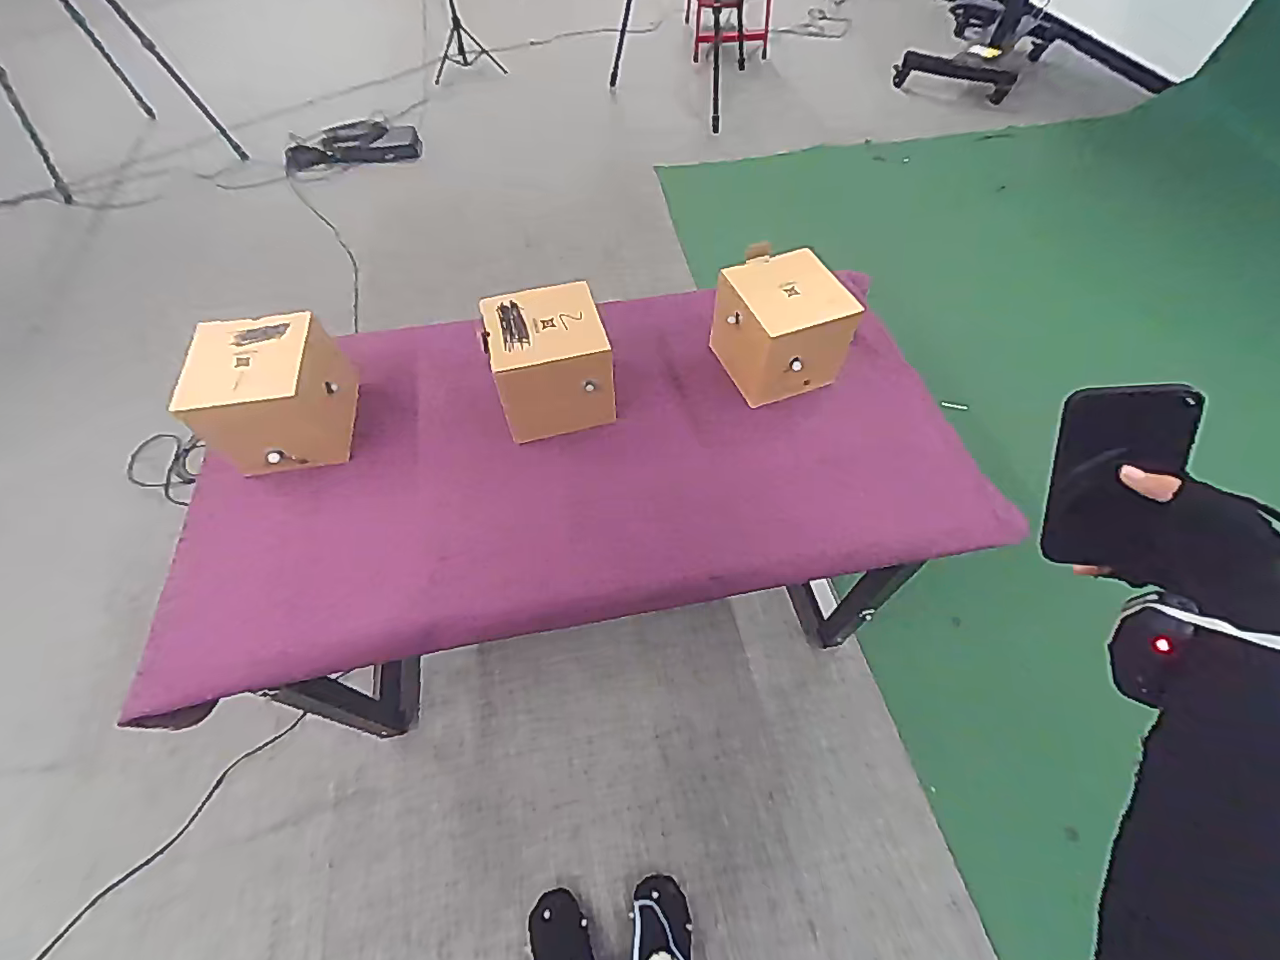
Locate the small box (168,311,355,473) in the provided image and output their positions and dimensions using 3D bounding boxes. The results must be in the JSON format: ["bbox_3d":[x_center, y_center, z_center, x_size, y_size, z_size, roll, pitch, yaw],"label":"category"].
[{"bbox_3d":[-0.565,-0.134,0.839,0.168,0.176,0.179,-8,59,-5],"label":"small box"}]

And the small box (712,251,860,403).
[{"bbox_3d":[0.236,-0.252,0.922,0.168,0.176,0.179,-18,58,-11],"label":"small box"}]
